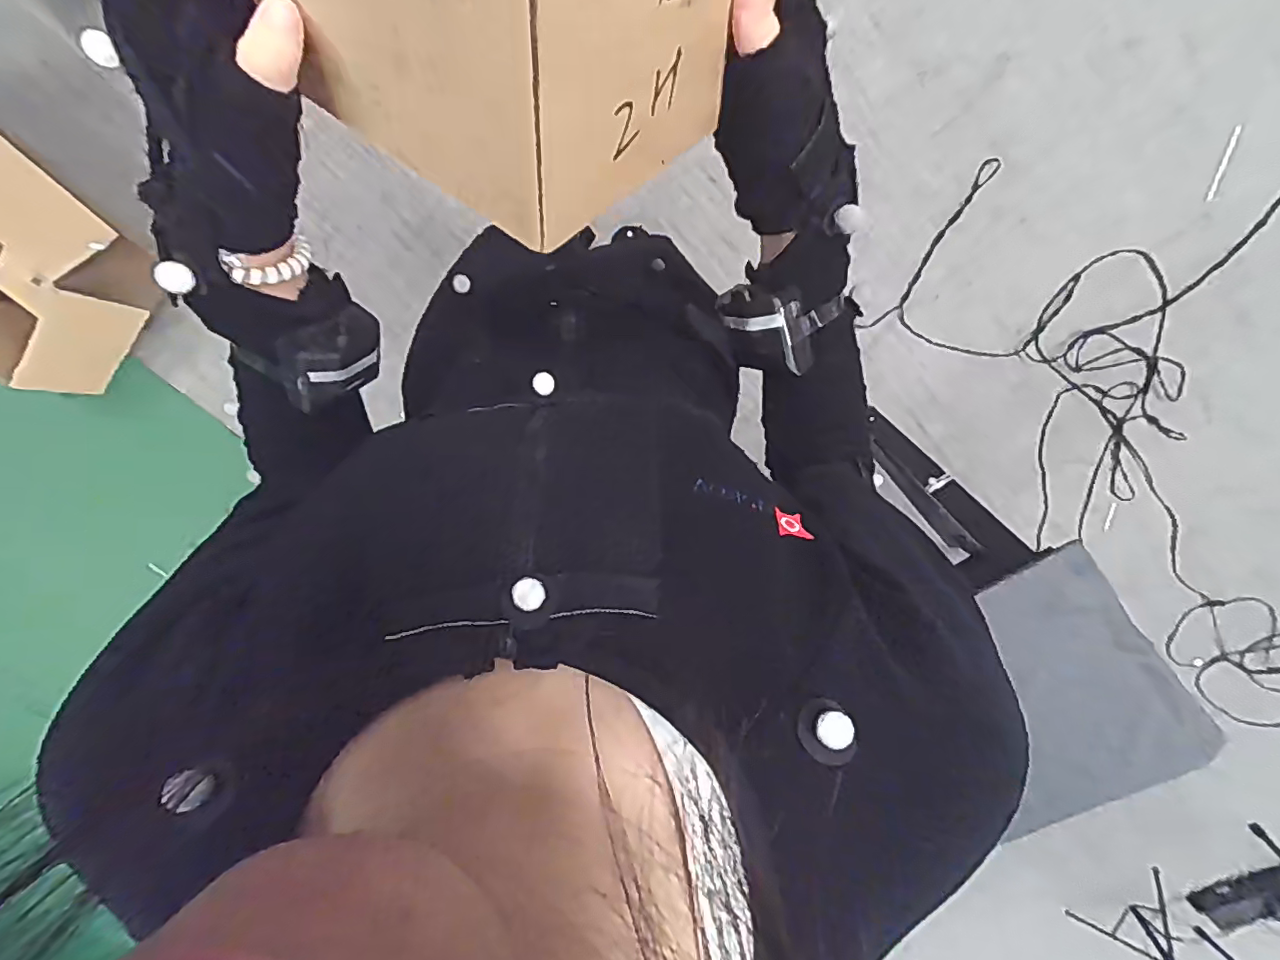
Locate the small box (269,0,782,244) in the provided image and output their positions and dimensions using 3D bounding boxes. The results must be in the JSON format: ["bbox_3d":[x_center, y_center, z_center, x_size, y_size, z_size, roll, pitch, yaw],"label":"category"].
[{"bbox_3d":[-0.044,-0.238,0.206,0.176,0.168,0.179,37,155,12],"label":"small box"}]
